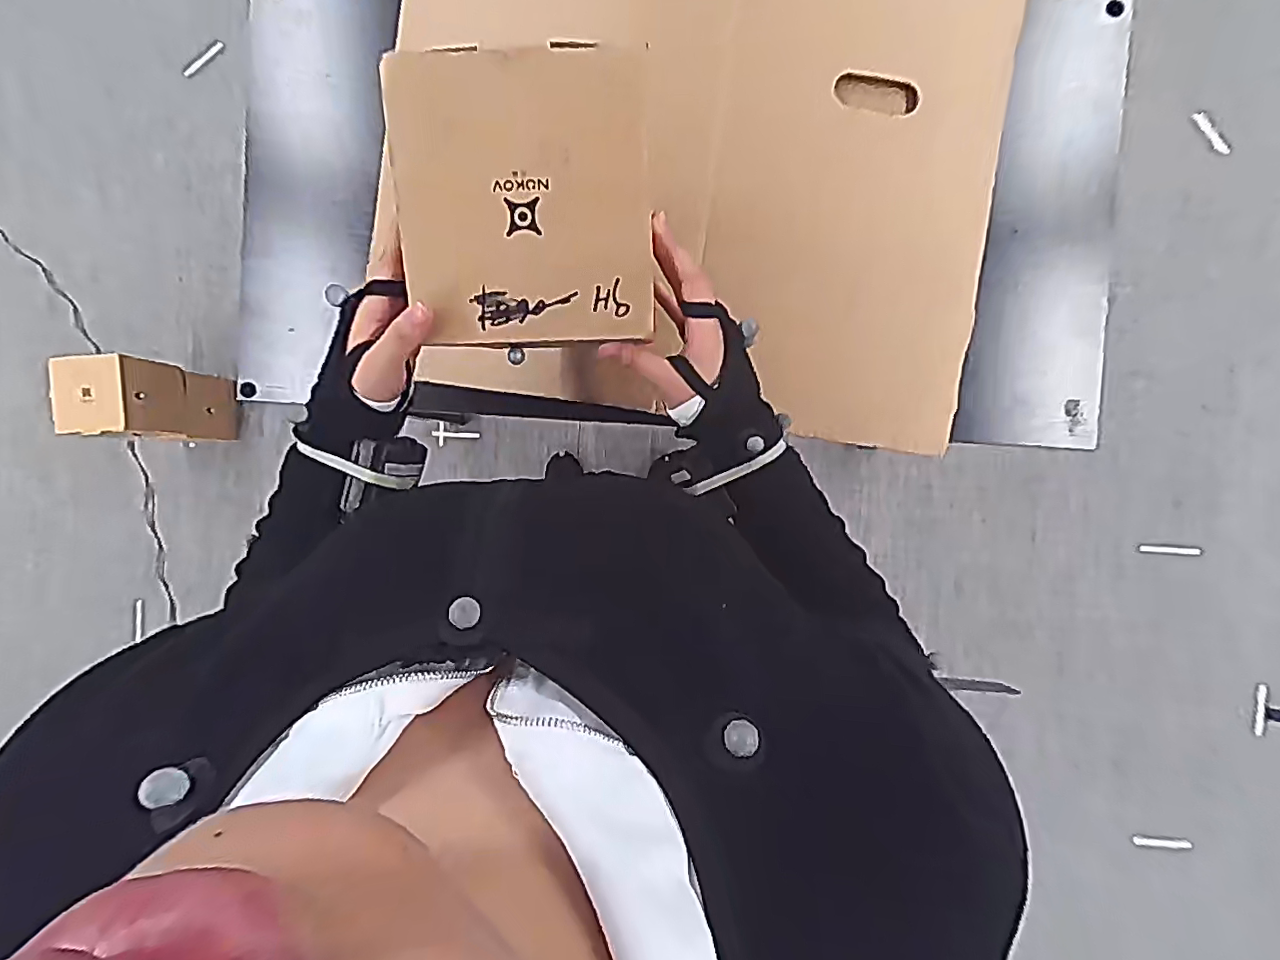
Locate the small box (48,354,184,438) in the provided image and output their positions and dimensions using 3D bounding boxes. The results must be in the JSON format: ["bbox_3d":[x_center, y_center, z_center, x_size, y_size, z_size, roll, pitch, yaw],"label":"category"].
[{"bbox_3d":[-1.234,-0.192,1.287,0.168,0.176,0.179,-4,91,1],"label":"small box"}]

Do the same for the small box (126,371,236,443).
[{"bbox_3d":[-1.227,-0.191,1.449,0.168,0.176,0.179,-1,92,2],"label":"small box"}]

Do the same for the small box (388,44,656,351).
[{"bbox_3d":[-0.071,-0.195,0.425,0.168,0.176,0.179,-1,102,2],"label":"small box"}]
